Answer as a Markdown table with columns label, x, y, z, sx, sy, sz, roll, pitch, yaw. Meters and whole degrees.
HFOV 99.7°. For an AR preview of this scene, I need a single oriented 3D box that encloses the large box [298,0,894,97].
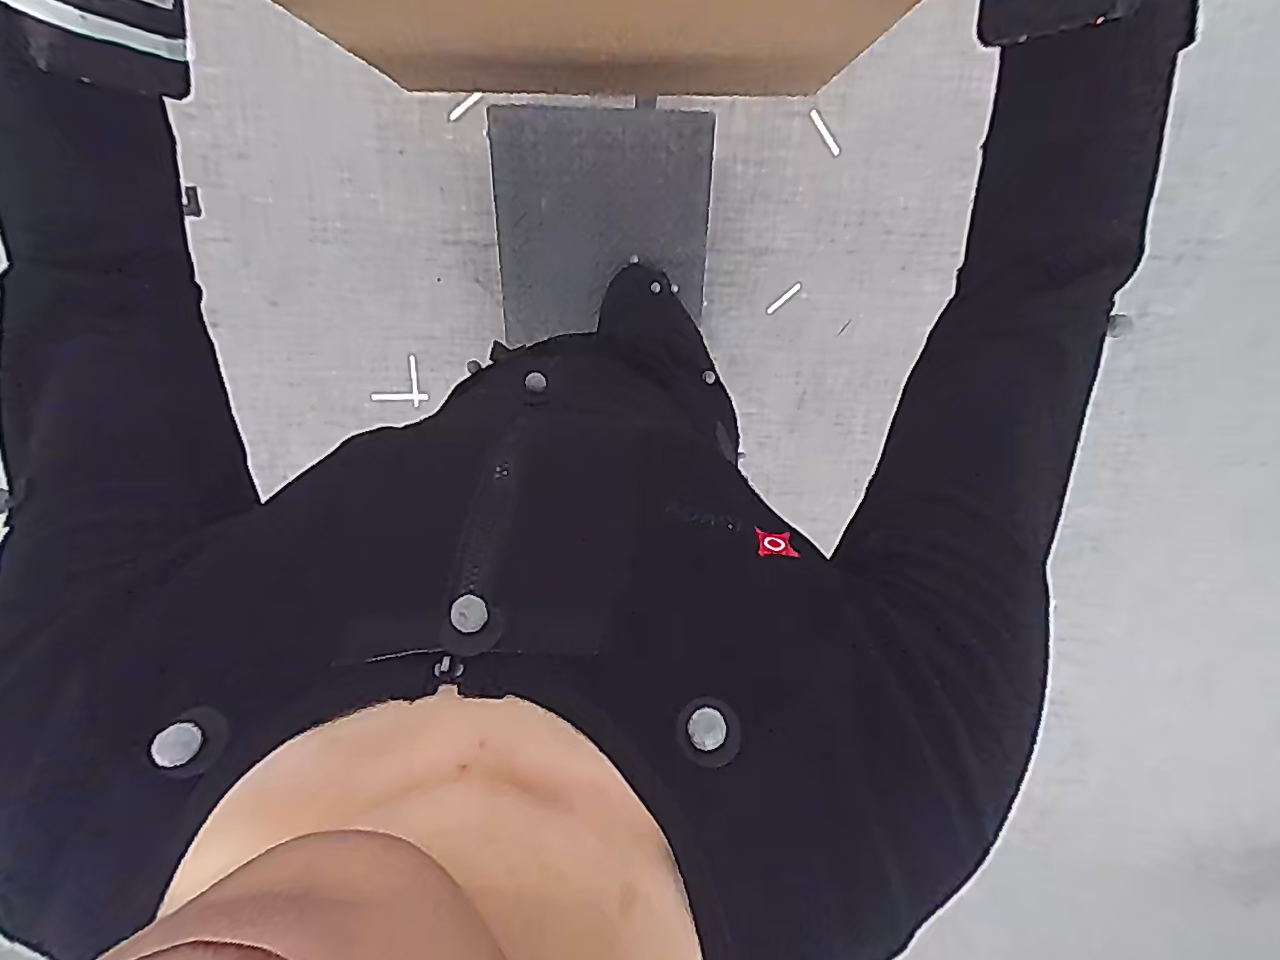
| label | x | y | z | sx | sy | sz | roll | pitch | yaw |
| --- | --- | --- | --- | --- | --- | --- | --- | --- | --- |
| large box | -0.028 | -0.469 | 0.342 | 0.408 | 0.320 | 0.320 | 0 | 113 | 0 |
